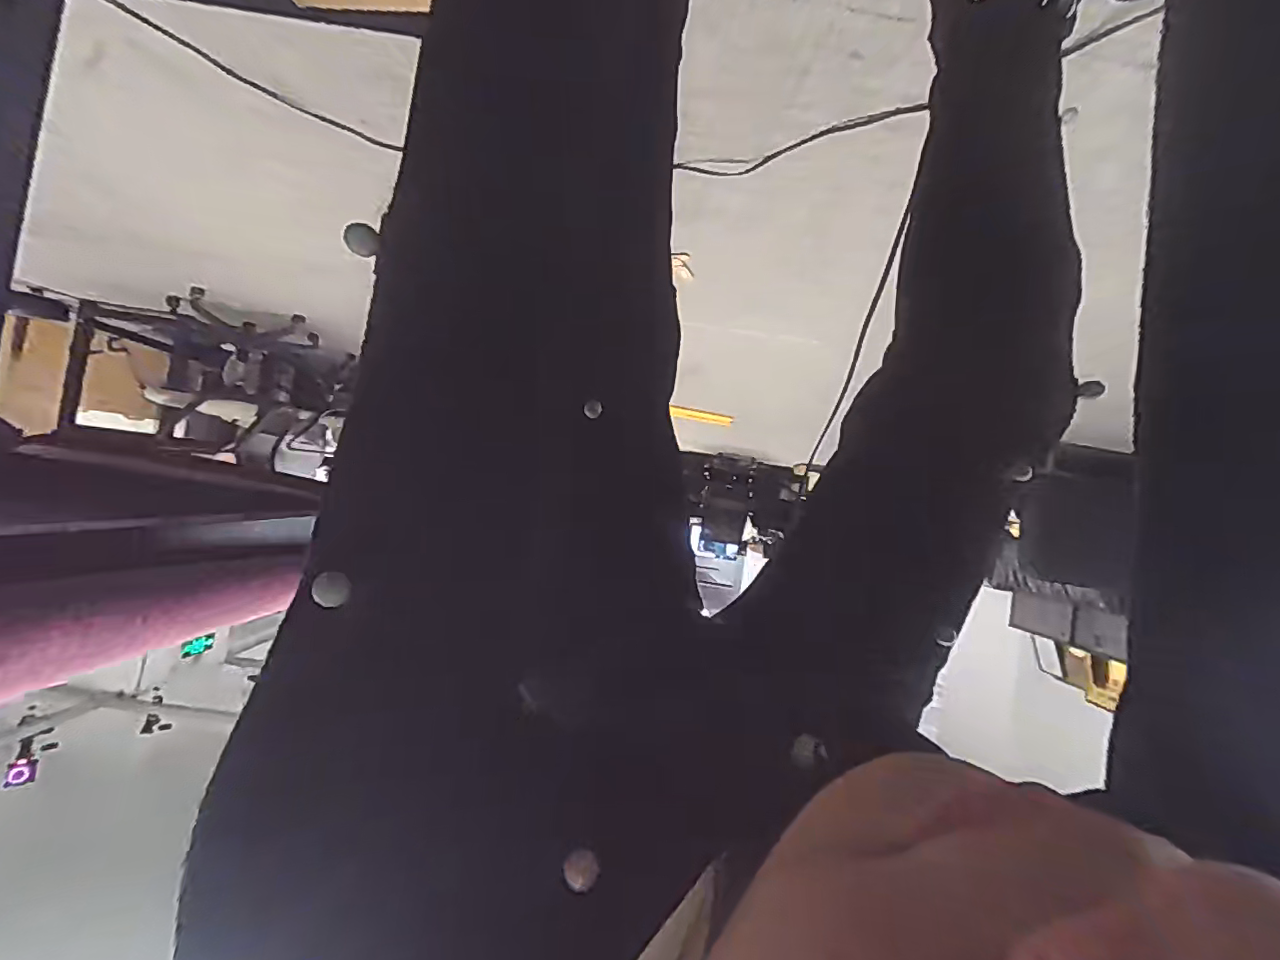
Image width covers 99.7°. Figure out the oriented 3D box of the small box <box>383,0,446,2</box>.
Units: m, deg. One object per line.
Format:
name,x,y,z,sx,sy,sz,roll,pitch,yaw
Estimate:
small box,-0.260,-0.549,0.443,0.179,0.176,0.168,8,178,7
